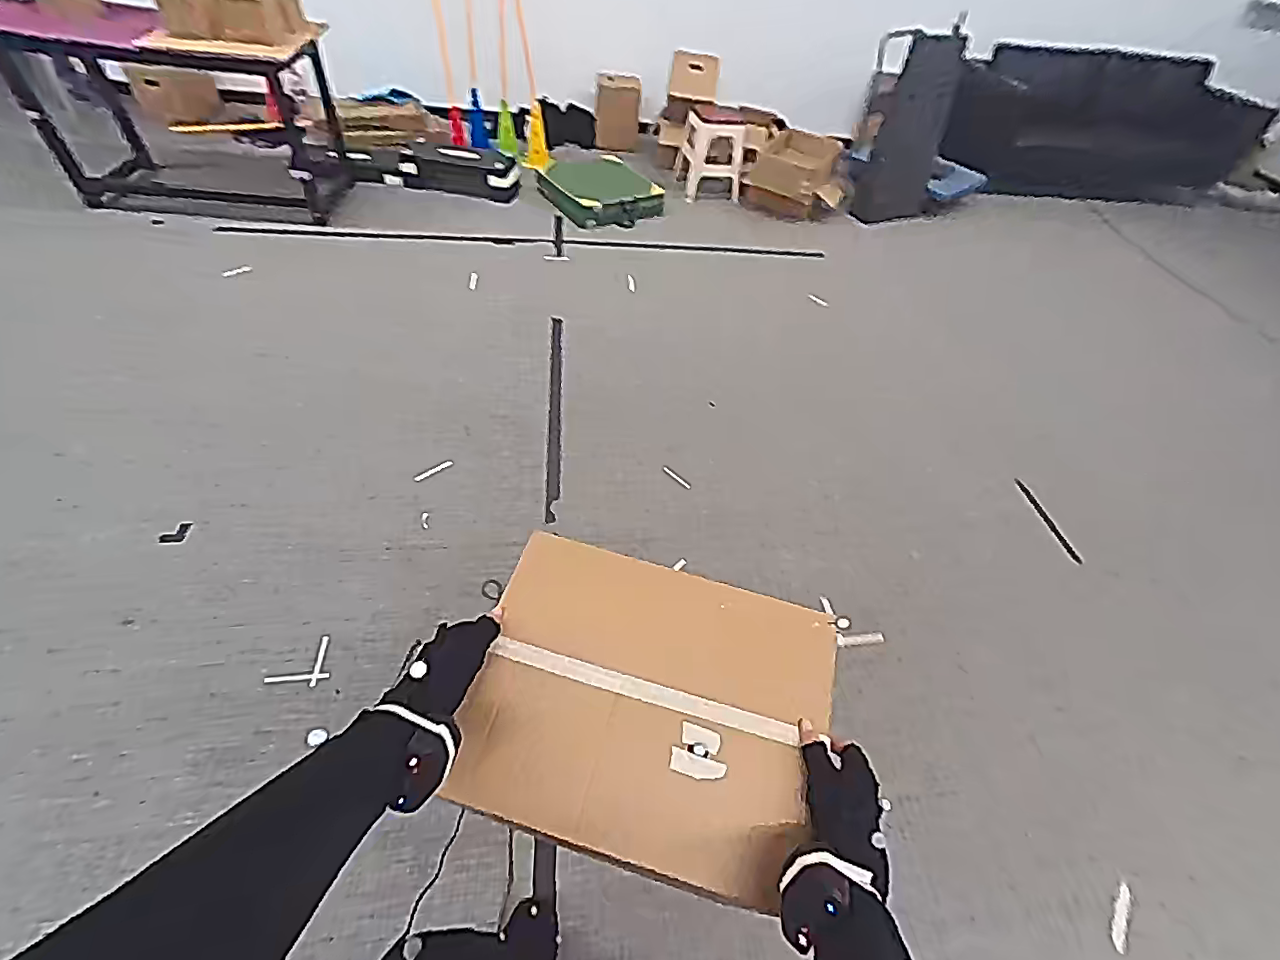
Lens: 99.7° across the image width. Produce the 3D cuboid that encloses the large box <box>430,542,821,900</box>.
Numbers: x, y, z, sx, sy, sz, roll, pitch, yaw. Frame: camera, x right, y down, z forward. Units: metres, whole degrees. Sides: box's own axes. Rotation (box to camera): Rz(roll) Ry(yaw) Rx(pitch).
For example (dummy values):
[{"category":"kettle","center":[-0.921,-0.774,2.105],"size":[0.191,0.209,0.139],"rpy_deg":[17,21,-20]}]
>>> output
[{"category":"large box","center":[-0.007,0.333,0.749],"size":[0.408,0.320,0.320],"rpy_deg":[15,55,5]}]
